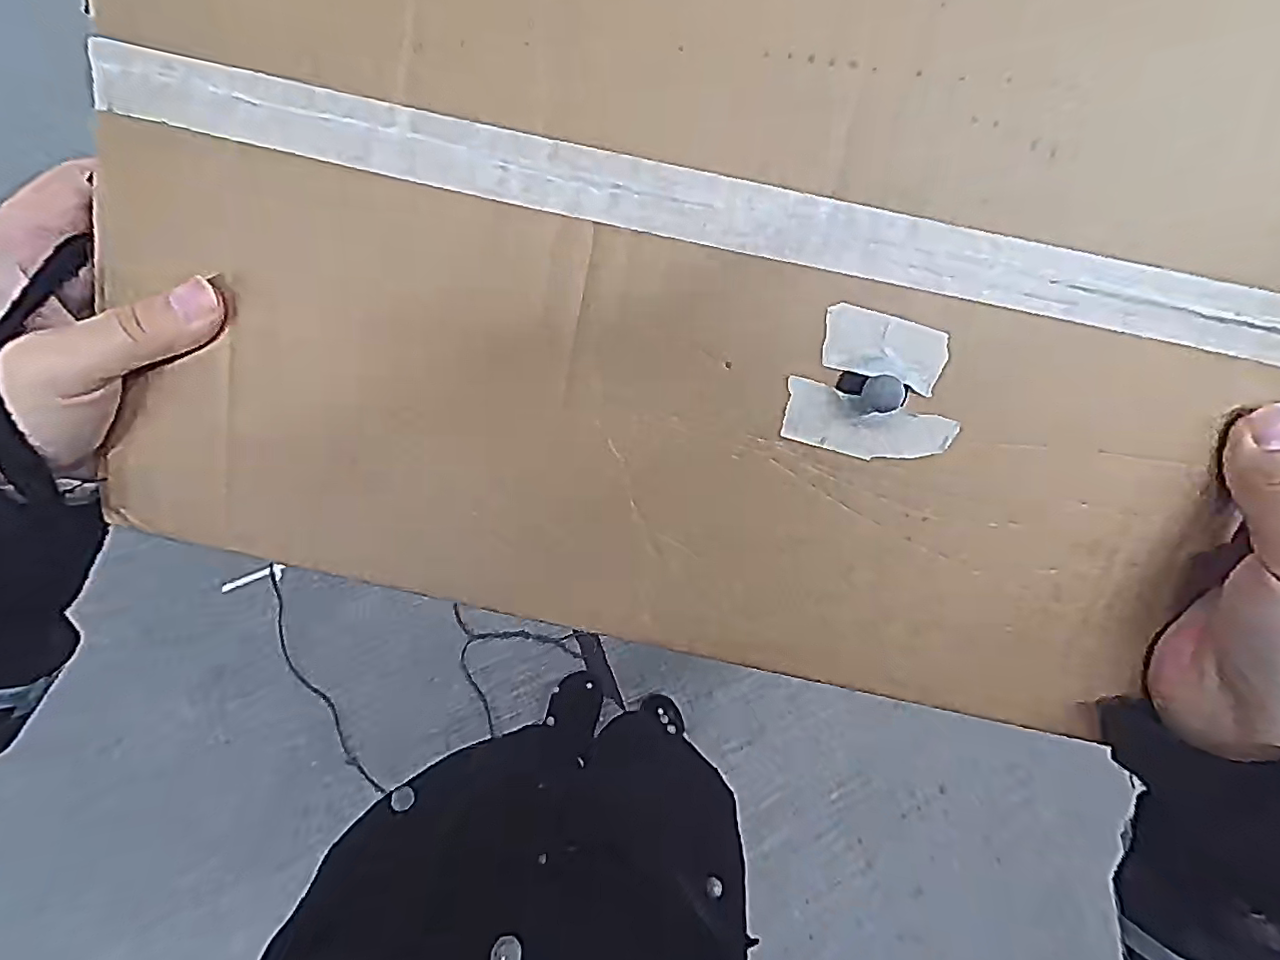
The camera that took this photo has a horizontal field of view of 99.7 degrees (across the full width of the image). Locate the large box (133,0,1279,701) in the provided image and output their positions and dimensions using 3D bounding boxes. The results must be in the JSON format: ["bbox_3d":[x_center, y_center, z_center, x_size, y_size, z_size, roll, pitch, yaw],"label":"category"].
[{"bbox_3d":[0.026,-0.118,0.335,0.408,0.320,0.320,11,103,-1],"label":"large box"}]
